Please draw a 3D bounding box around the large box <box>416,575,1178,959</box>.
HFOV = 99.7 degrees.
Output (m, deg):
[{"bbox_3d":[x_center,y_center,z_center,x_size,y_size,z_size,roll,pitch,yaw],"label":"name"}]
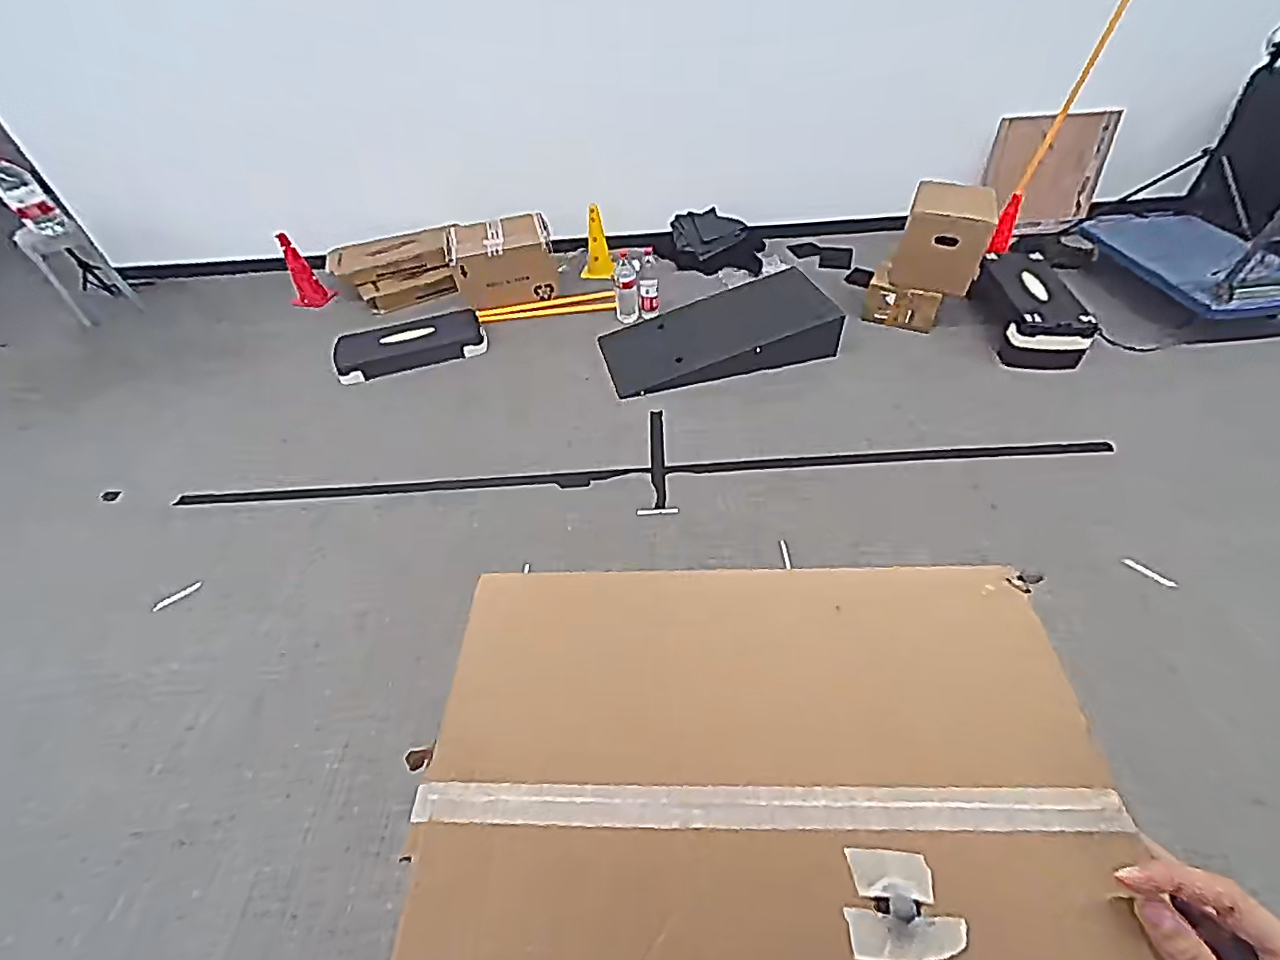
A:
[{"bbox_3d":[0.084,0.291,0.442,0.408,0.320,0.320,-2,53,3],"label":"large box"}]
